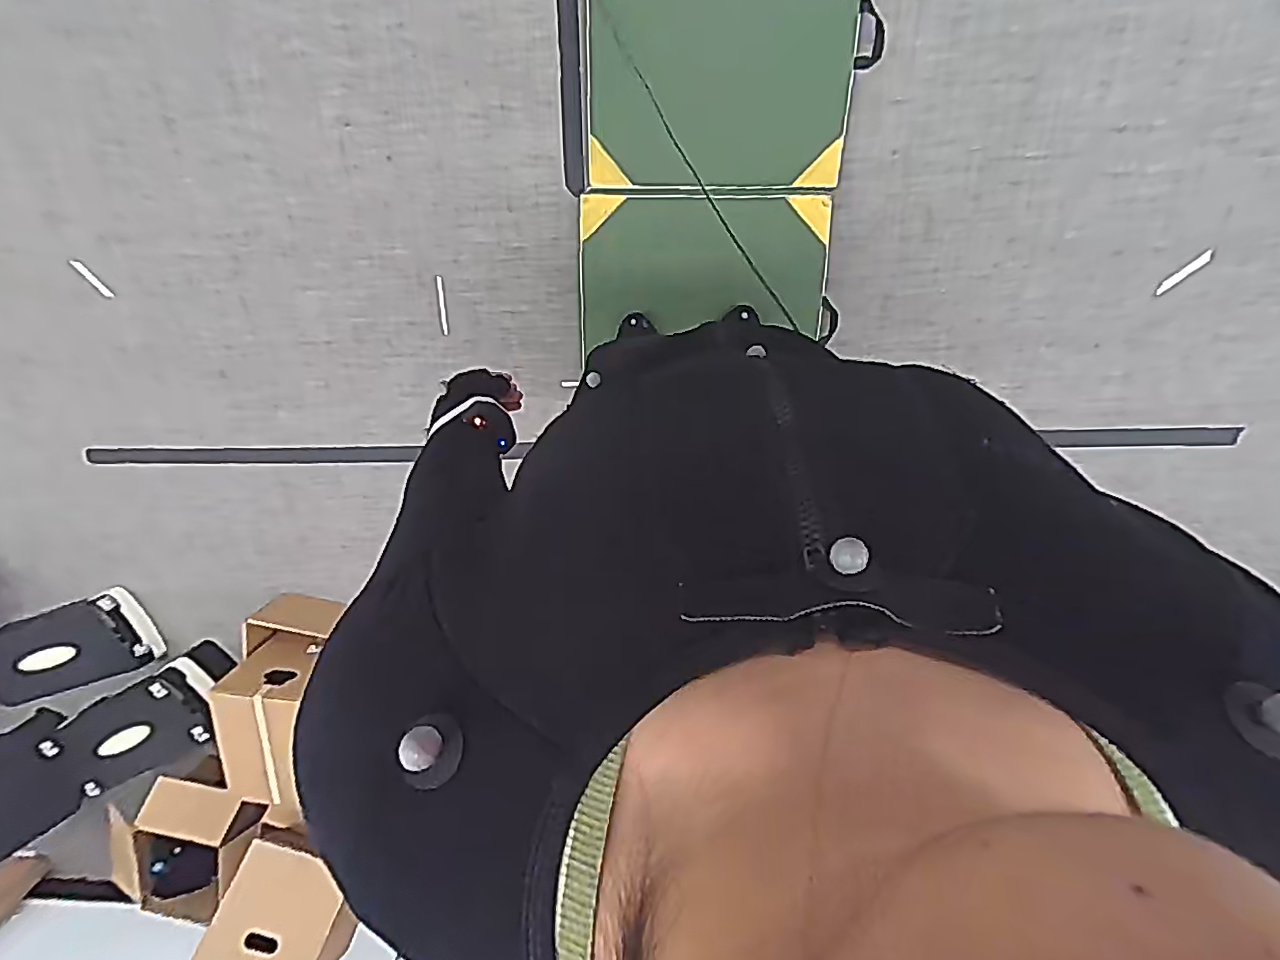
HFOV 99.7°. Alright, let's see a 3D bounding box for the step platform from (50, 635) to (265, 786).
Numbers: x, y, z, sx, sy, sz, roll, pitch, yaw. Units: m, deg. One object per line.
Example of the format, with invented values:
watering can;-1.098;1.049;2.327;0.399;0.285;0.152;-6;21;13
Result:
step platform;-1.711;0.823;1.917;0.684;0.204;0.286;-28;105;12
